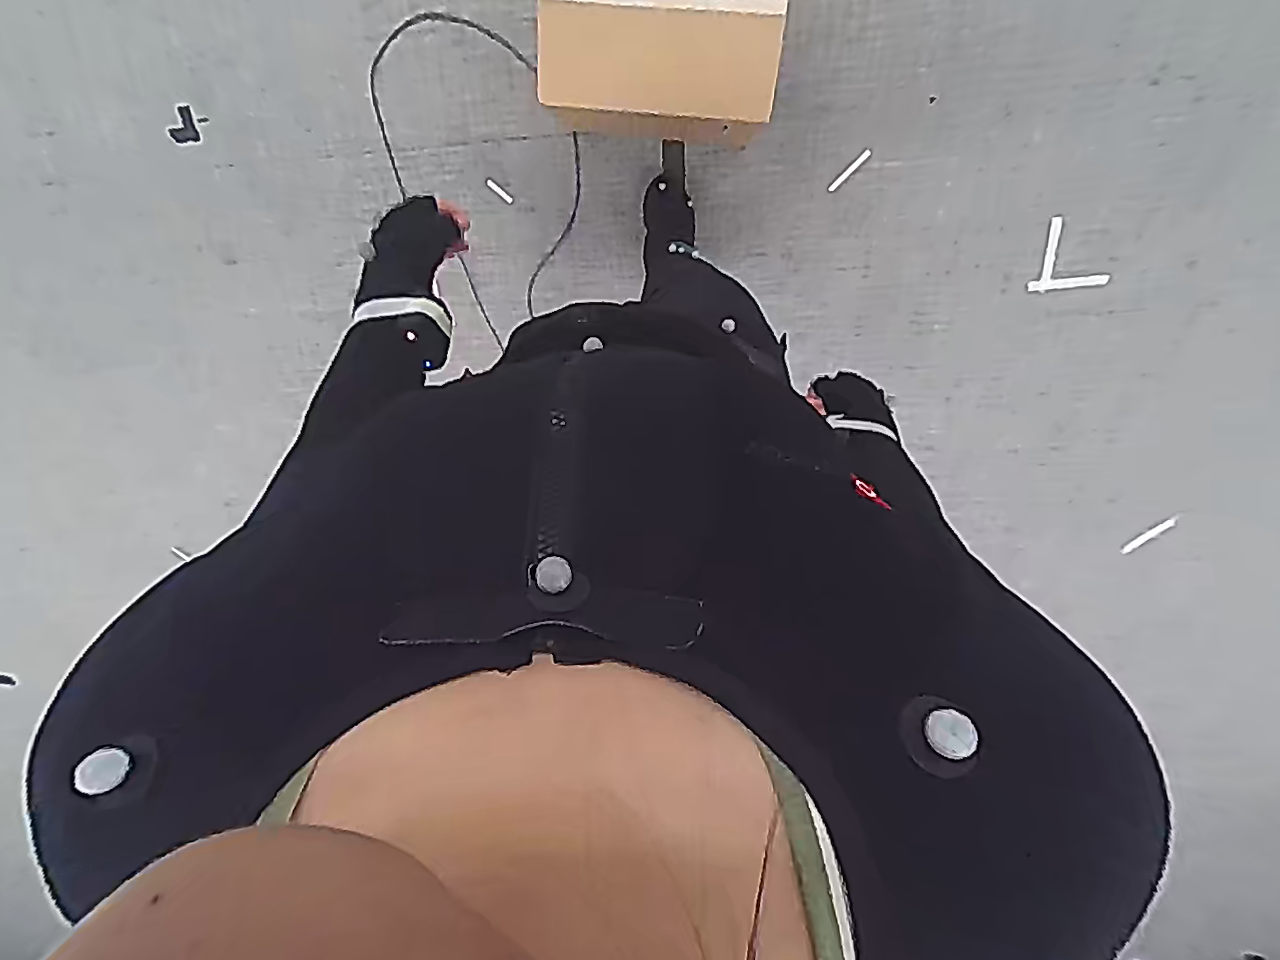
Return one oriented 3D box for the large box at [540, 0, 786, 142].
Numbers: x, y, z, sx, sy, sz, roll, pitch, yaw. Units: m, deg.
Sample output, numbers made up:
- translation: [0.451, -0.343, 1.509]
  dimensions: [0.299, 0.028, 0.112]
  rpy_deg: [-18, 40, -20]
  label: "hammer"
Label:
- translation: [0.044, -0.830, 1.002]
  dimensions: [0.408, 0.320, 0.320]
  rpy_deg: [5, 115, 1]
  label: "large box"
